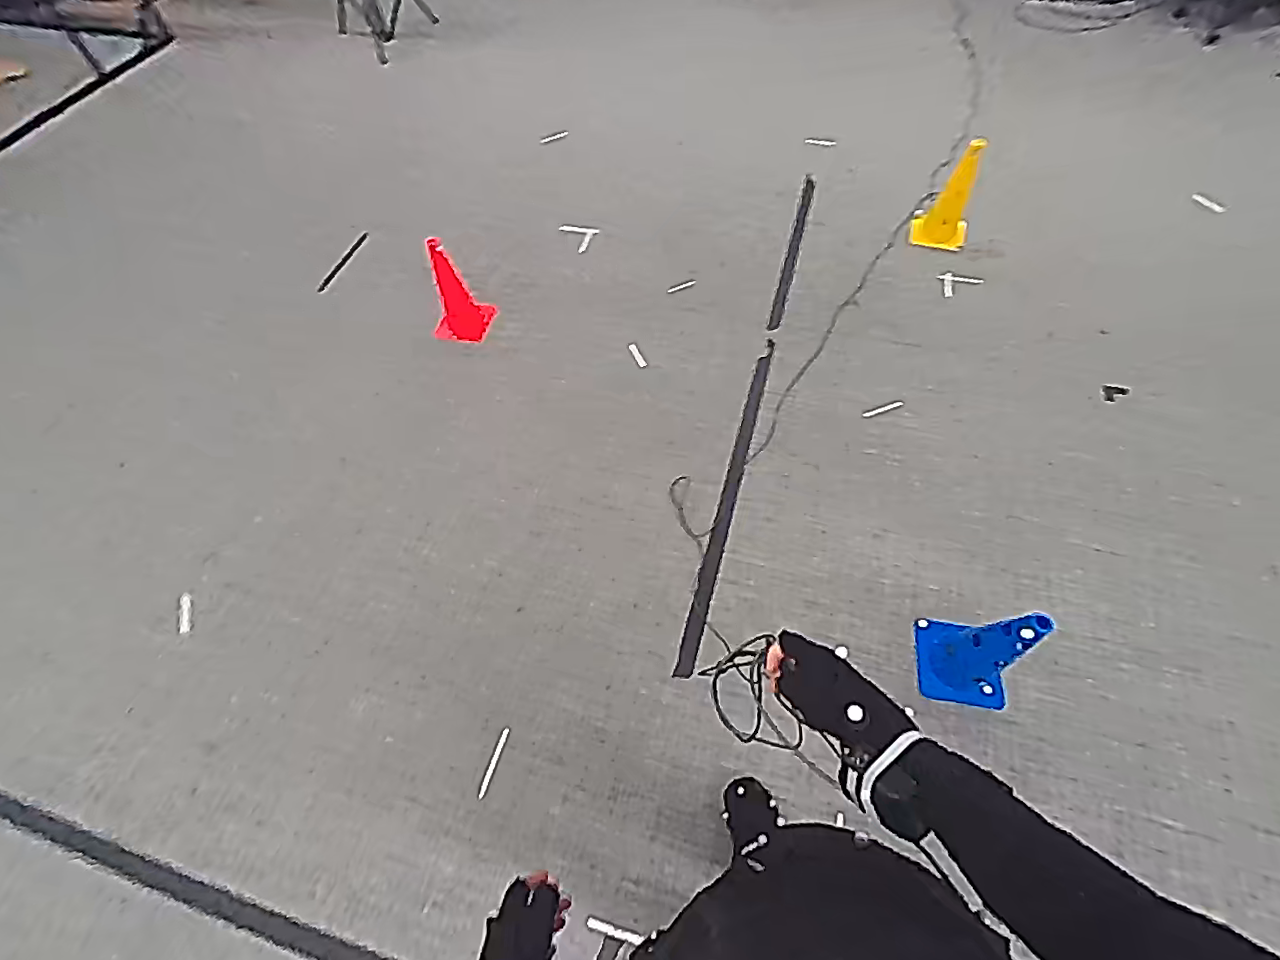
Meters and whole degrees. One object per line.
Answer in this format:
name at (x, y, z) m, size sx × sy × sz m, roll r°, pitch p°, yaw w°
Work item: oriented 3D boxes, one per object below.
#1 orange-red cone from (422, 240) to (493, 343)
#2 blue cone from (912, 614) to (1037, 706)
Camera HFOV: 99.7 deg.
orange-red cone at (-0.693, -0.693, 1.942) m, size 0.198 × 0.360 × 0.199 m, roll 9°, pitch 61°, yaw 9°
blue cone at (0.777, 0.373, 1.212) m, size 0.192 × 0.380 × 0.193 m, roll 8°, pitch 60°, yaw 8°
